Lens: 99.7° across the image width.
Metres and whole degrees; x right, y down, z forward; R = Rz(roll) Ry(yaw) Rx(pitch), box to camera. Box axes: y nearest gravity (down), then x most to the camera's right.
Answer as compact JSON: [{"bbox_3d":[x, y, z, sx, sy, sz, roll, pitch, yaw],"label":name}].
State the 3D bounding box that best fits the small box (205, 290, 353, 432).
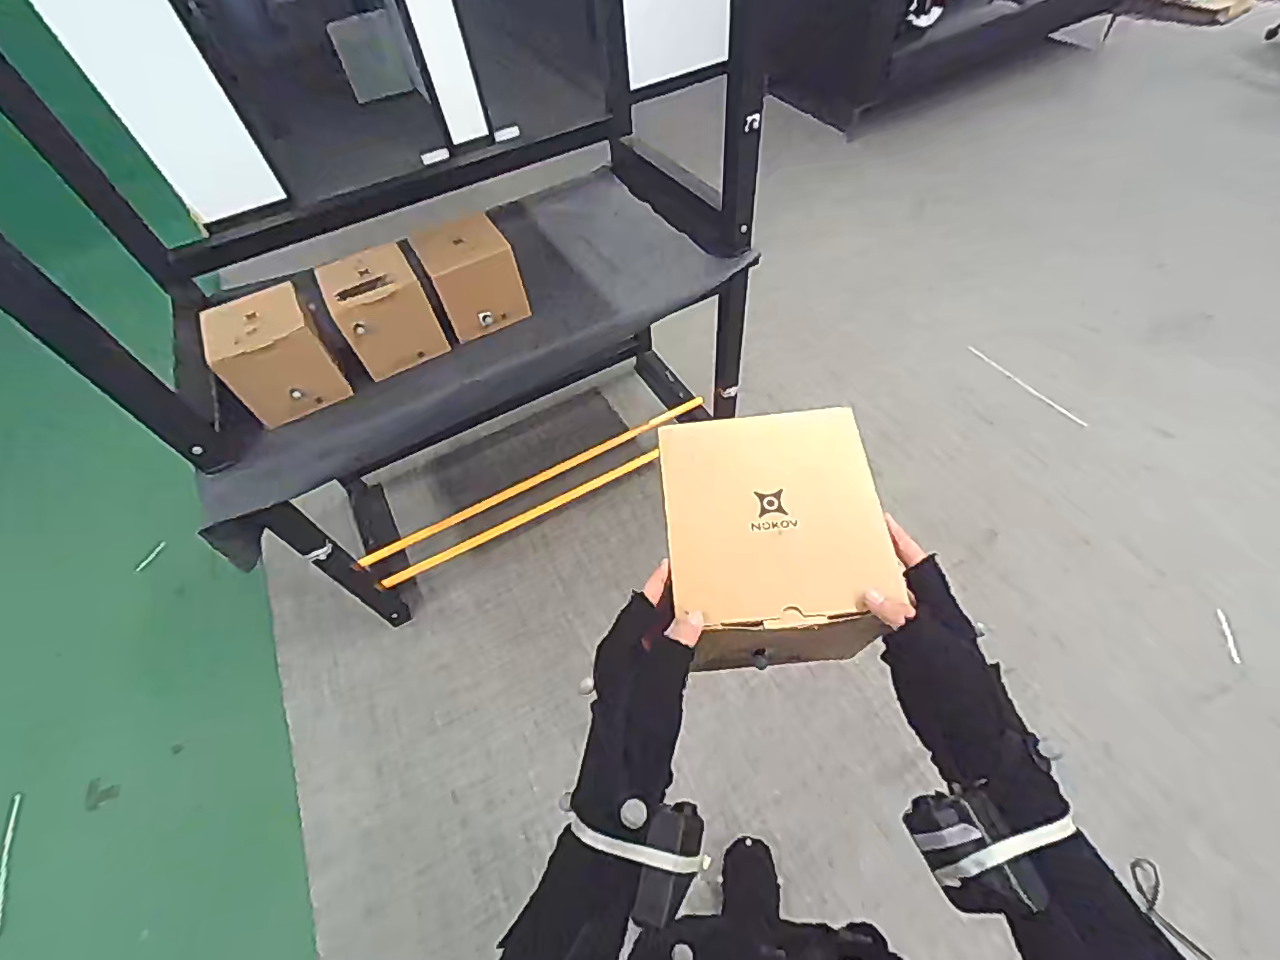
[{"bbox_3d":[-0.681,-0.224,1.031,0.168,0.176,0.179,-28,56,-14],"label":"small box"}]
